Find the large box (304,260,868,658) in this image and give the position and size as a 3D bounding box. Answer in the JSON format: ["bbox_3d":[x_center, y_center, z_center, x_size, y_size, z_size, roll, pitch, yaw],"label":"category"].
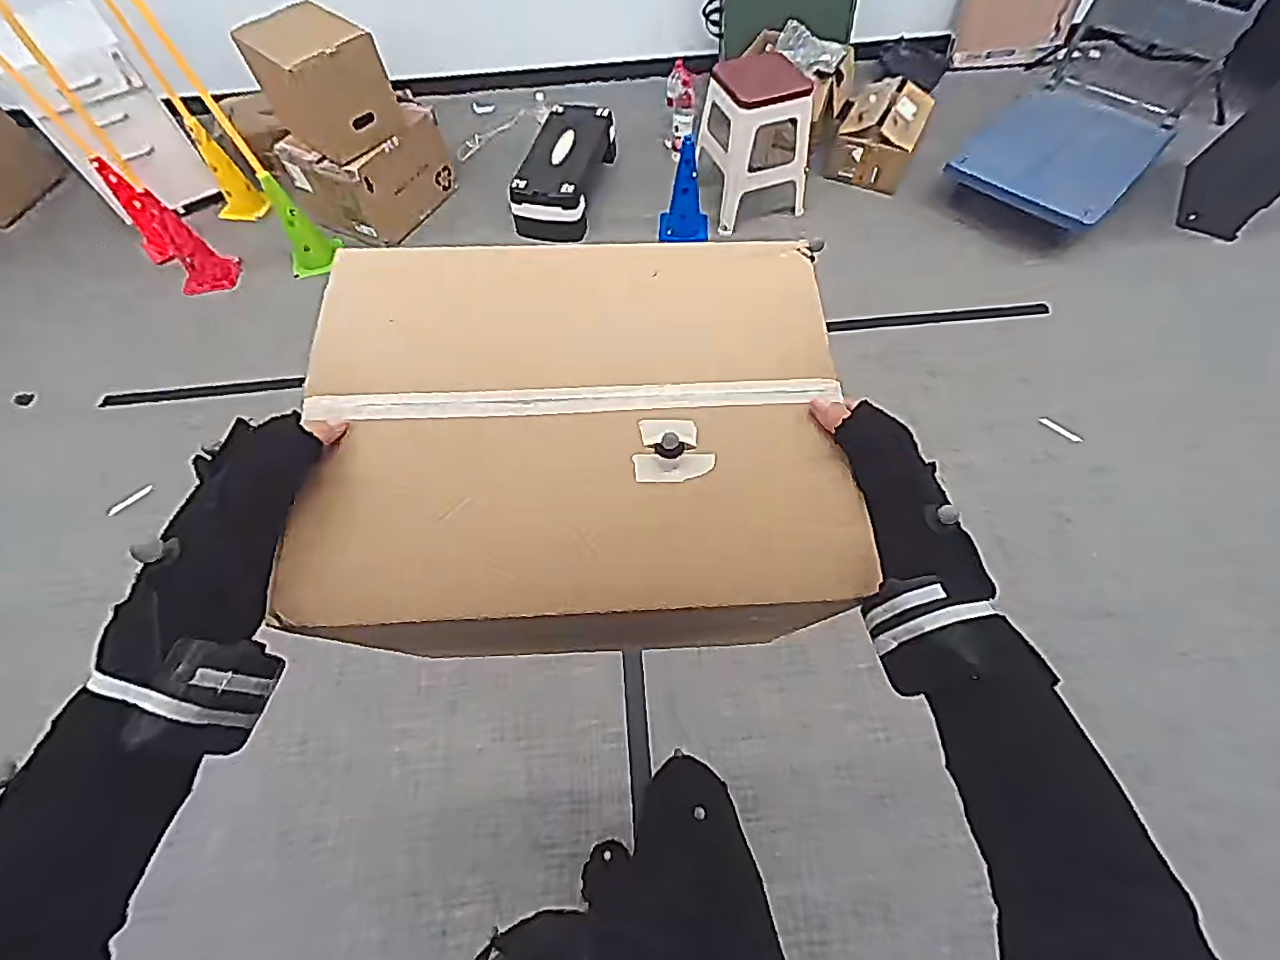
[{"bbox_3d":[-0.047,0.002,0.570,0.408,0.320,0.320,-2,68,-3],"label":"large box"}]
